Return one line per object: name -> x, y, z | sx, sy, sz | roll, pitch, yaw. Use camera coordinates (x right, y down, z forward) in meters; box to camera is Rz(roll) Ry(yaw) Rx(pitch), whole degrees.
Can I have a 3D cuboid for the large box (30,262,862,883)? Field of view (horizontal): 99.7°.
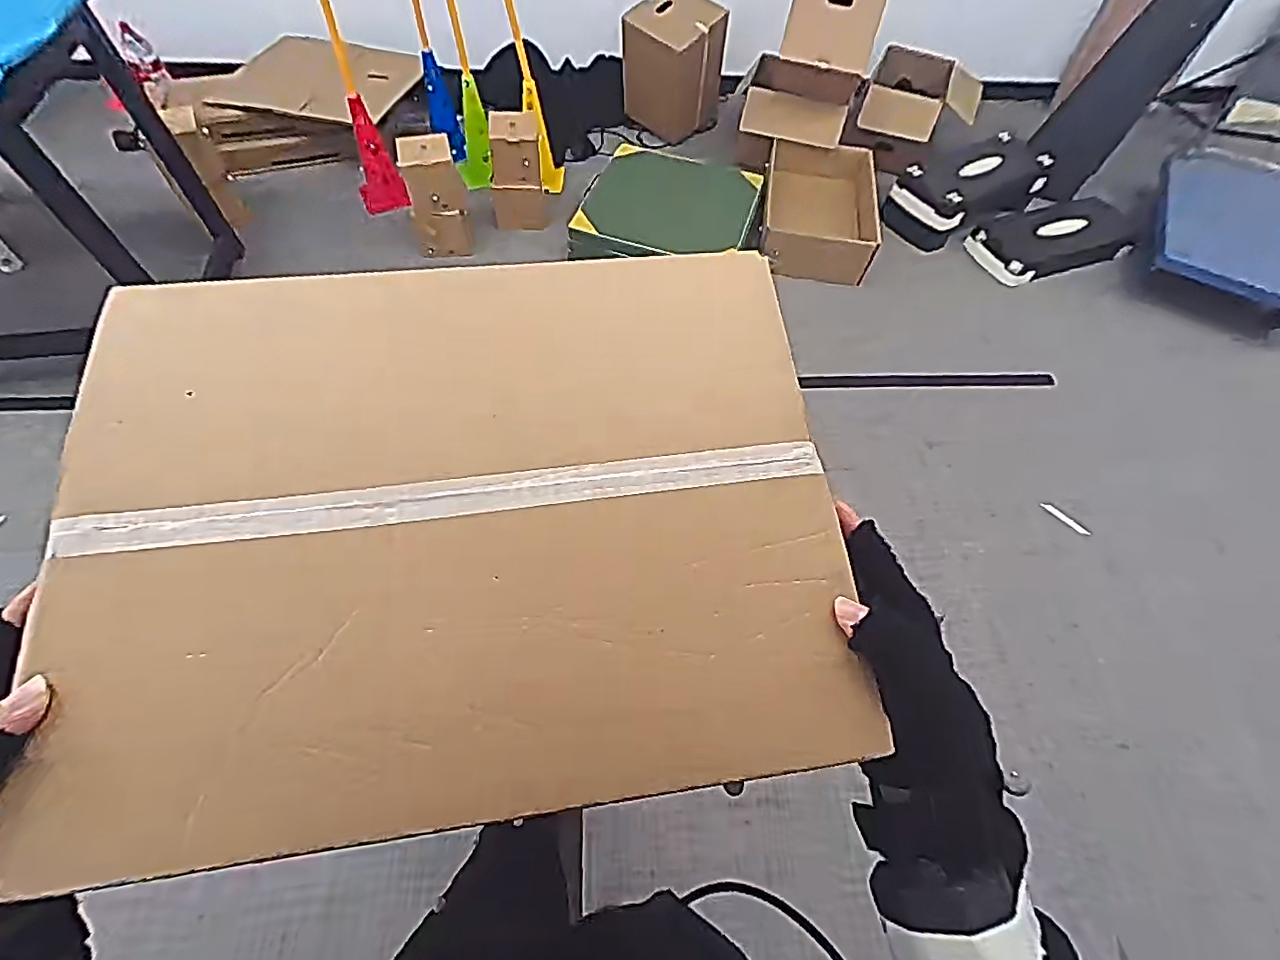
large box -> -0.106, 0.062, 0.448 | 0.408, 0.320, 0.320 | -6, 70, -6
